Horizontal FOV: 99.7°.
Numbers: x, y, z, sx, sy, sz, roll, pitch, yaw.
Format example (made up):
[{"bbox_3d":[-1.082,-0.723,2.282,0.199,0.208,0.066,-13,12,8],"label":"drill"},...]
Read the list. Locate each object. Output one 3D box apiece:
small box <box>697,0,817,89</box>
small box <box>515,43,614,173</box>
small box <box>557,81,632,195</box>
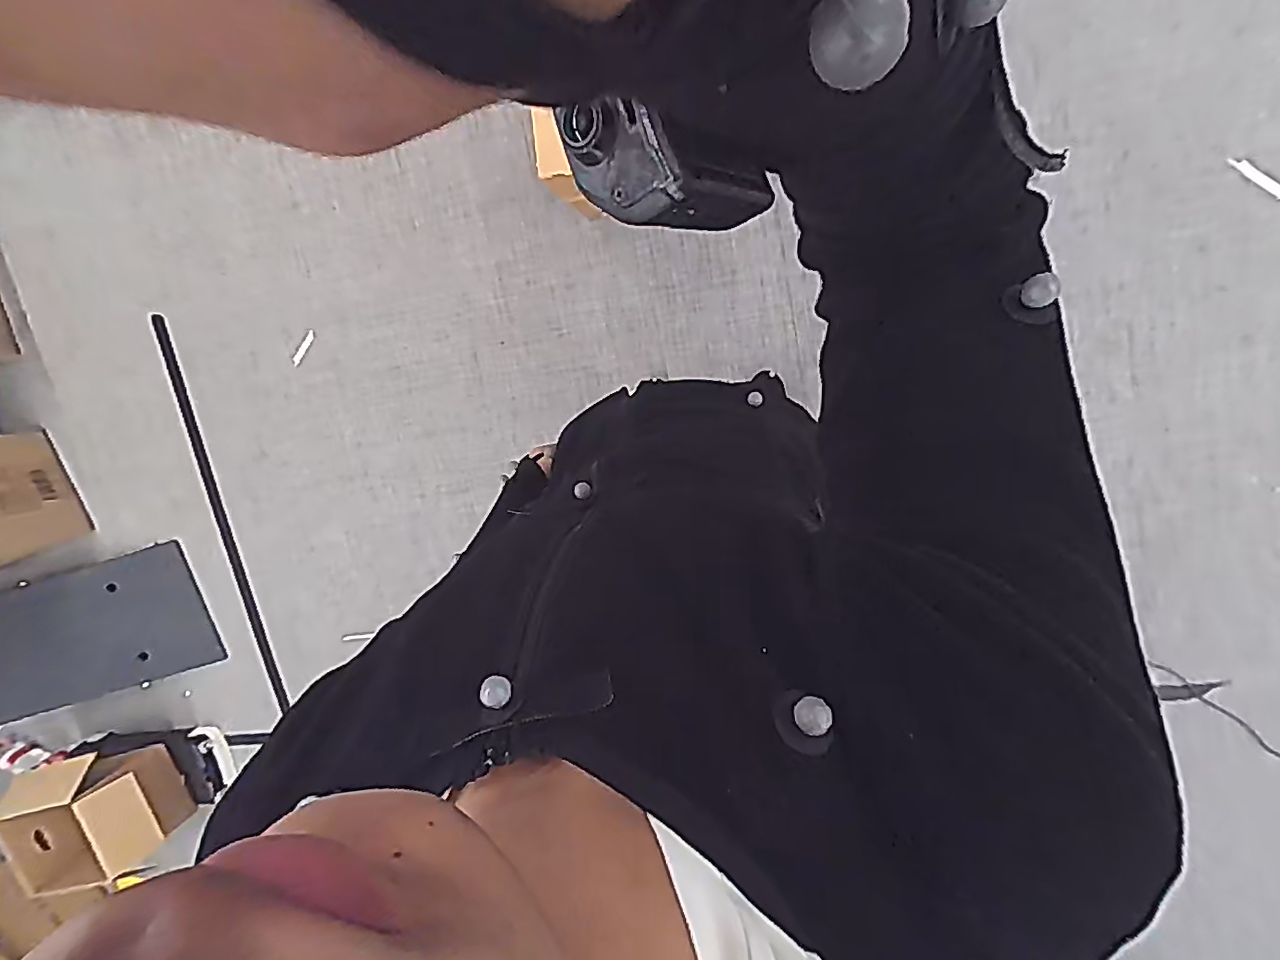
[{"bbox_3d":[0.199,-0.834,0.954,0.168,0.176,0.179,-18,99,12],"label":"small box"},{"bbox_3d":[-0.160,-0.810,1.195,0.168,0.176,0.179,-3,102,11],"label":"small box"},{"bbox_3d":[-0.122,-0.843,1.349,0.168,0.176,0.179,-7,101,11],"label":"small box"}]
